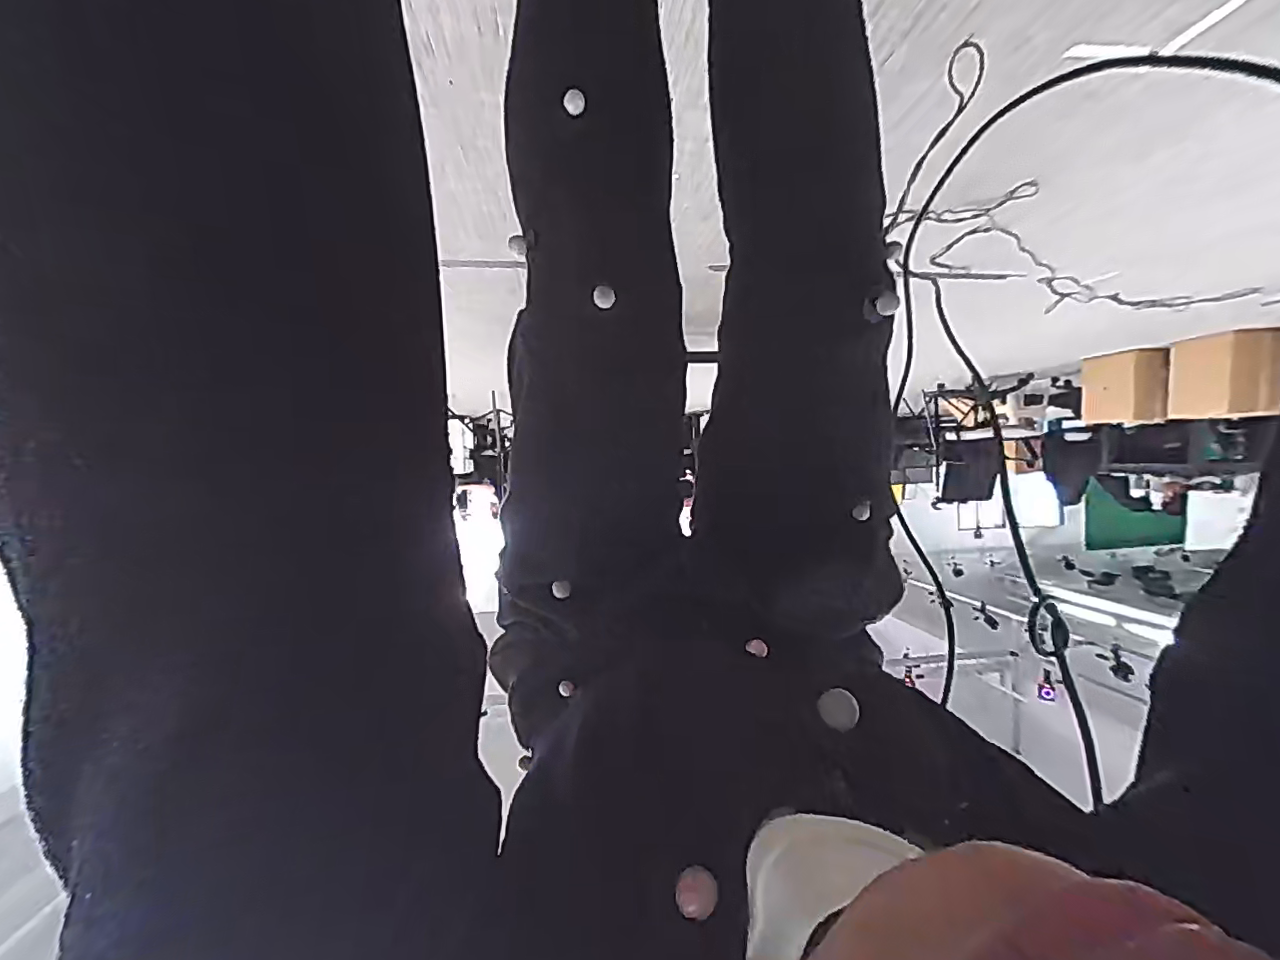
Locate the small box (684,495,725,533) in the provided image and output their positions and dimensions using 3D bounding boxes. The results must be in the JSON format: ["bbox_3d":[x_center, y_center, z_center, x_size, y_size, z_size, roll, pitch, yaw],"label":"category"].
[{"bbox_3d":[0.326,0.174,2.705,0.179,0.168,0.176,-10,-176,-11],"label":"small box"}]

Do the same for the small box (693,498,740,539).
[{"bbox_3d":[0.341,0.169,2.430,0.179,0.176,0.168,-3,-178,-7],"label":"small box"}]
